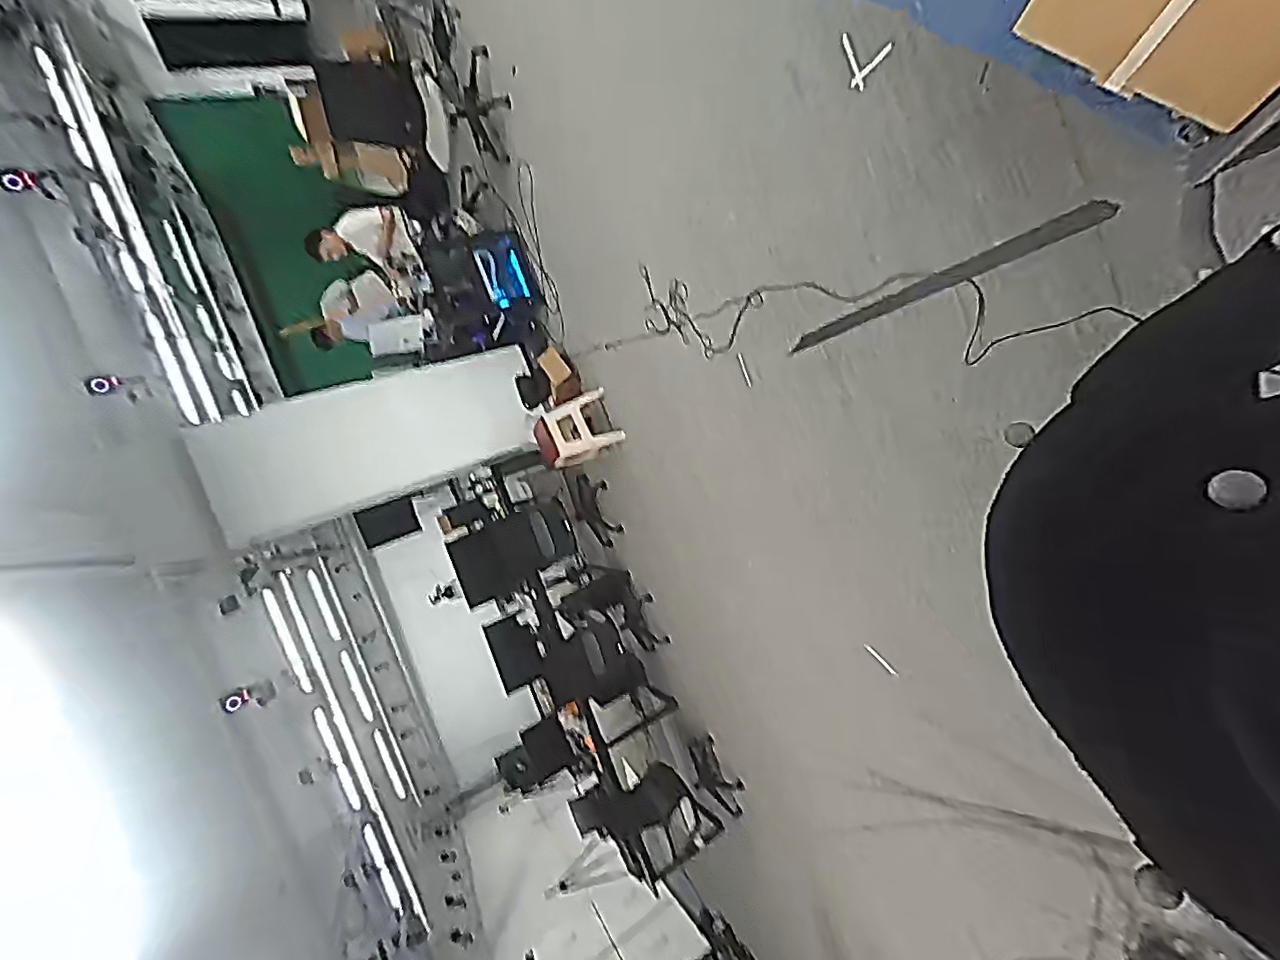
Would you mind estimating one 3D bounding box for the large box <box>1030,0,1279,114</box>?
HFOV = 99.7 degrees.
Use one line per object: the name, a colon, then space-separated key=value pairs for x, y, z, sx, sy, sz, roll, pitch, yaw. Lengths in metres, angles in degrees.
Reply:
large box: x=0.787 y=-0.747 z=0.644 sx=0.320 sy=0.320 sz=0.408 roll=38 pitch=147 yaw=13
